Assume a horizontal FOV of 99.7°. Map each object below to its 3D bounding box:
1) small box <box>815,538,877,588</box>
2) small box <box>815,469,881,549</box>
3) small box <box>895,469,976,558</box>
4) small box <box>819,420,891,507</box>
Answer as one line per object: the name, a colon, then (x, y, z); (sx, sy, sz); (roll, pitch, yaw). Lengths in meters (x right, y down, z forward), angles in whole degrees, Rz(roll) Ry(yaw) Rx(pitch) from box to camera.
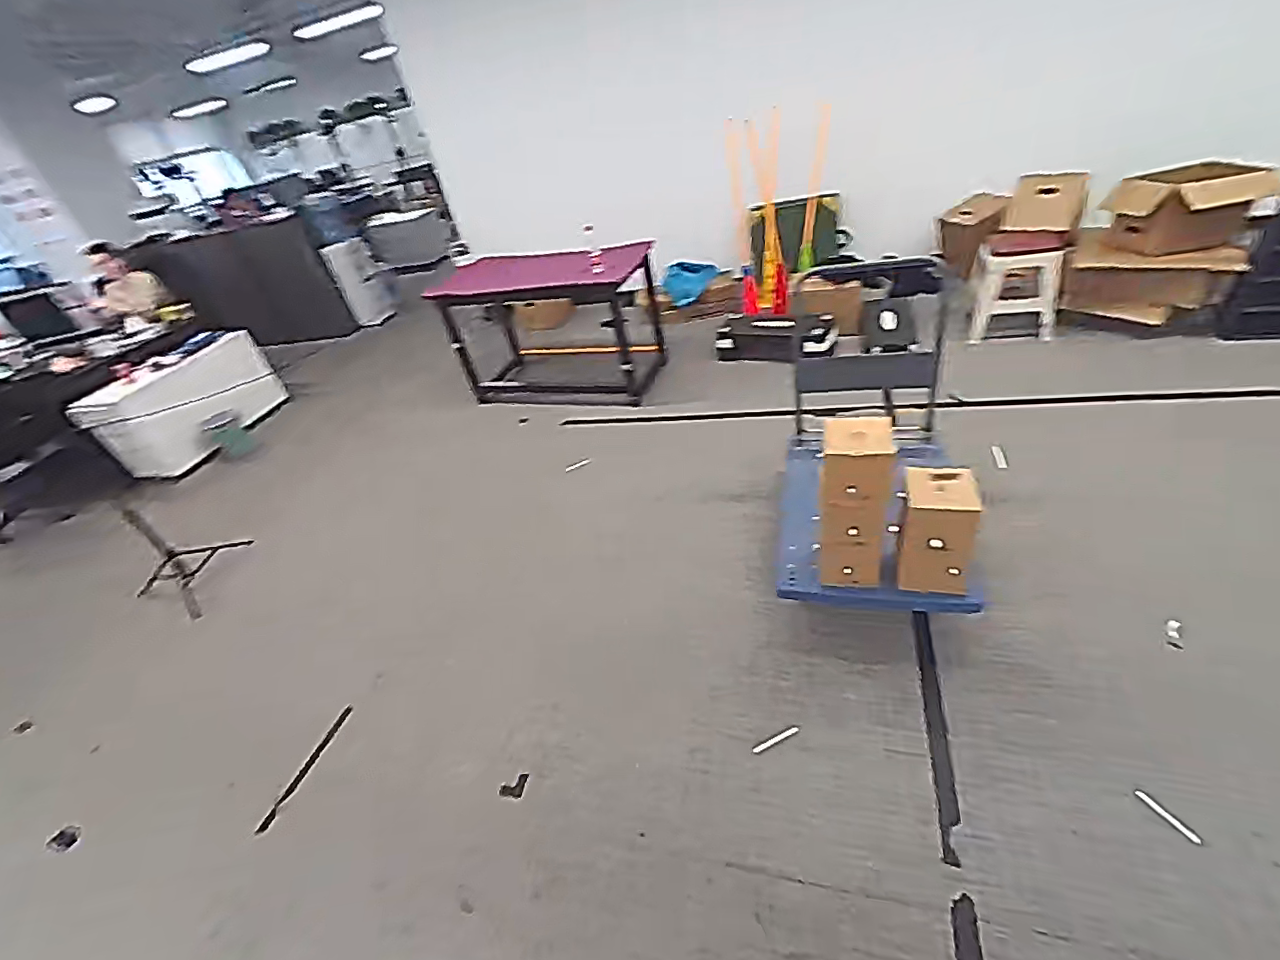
small box: (0.627, 0.211, 1.657); (0.168, 0.176, 0.179); (0, 38, 17)
small box: (0.594, 0.083, 1.559); (0.168, 0.176, 0.179); (-1, 39, 15)
small box: (0.803, 0.089, 1.486); (0.168, 0.176, 0.179); (2, 39, 20)
small box: (0.574, -0.047, 1.462); (0.168, 0.176, 0.179); (0, 39, 17)
